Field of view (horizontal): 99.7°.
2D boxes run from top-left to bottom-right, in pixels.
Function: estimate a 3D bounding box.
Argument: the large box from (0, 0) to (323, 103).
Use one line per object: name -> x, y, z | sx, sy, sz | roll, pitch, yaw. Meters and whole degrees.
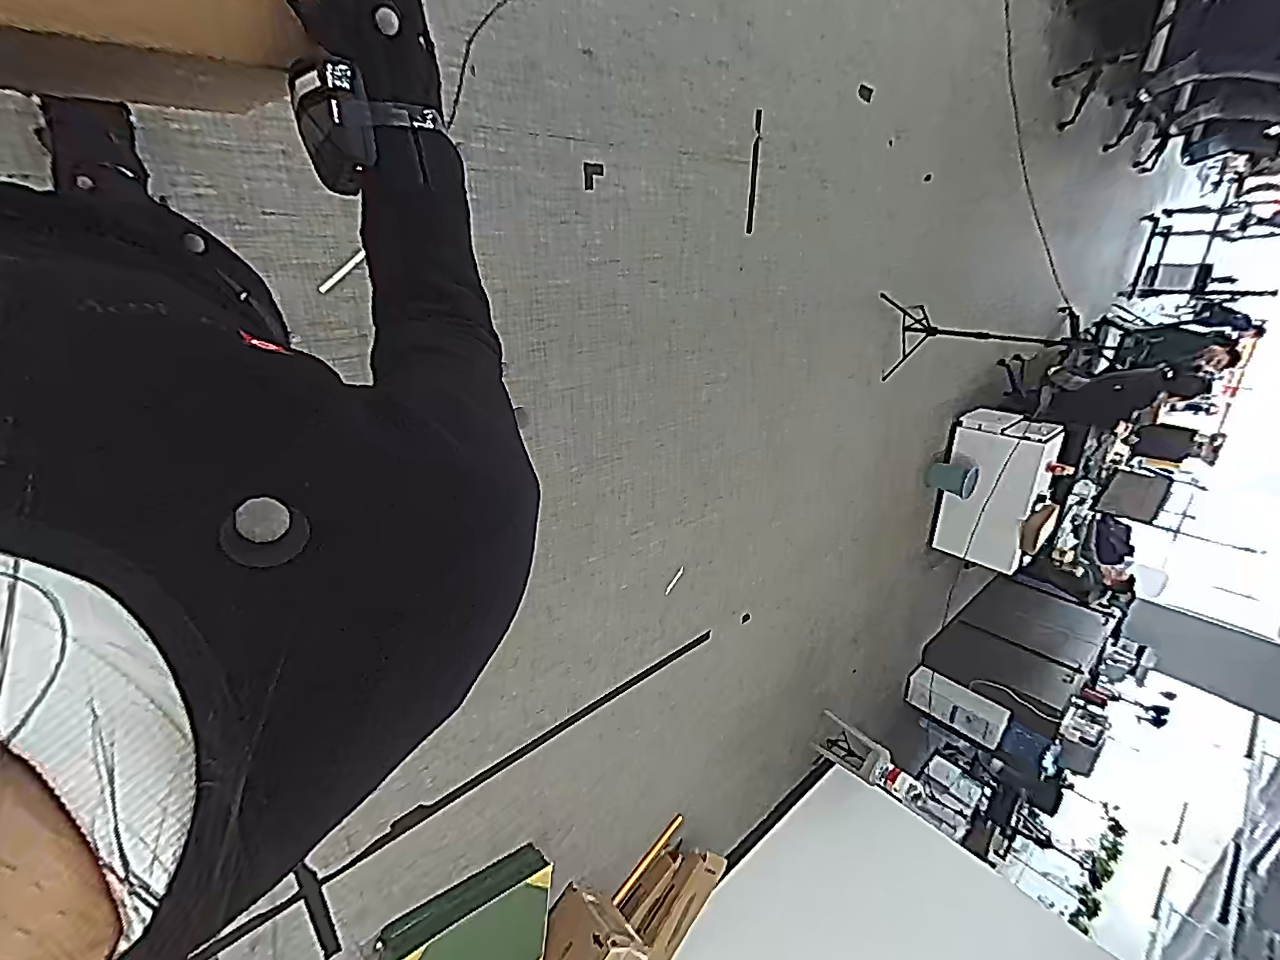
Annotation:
large box -> -0.453, -0.405, 0.267 | 0.408, 0.320, 0.320 | -22, 127, -37
